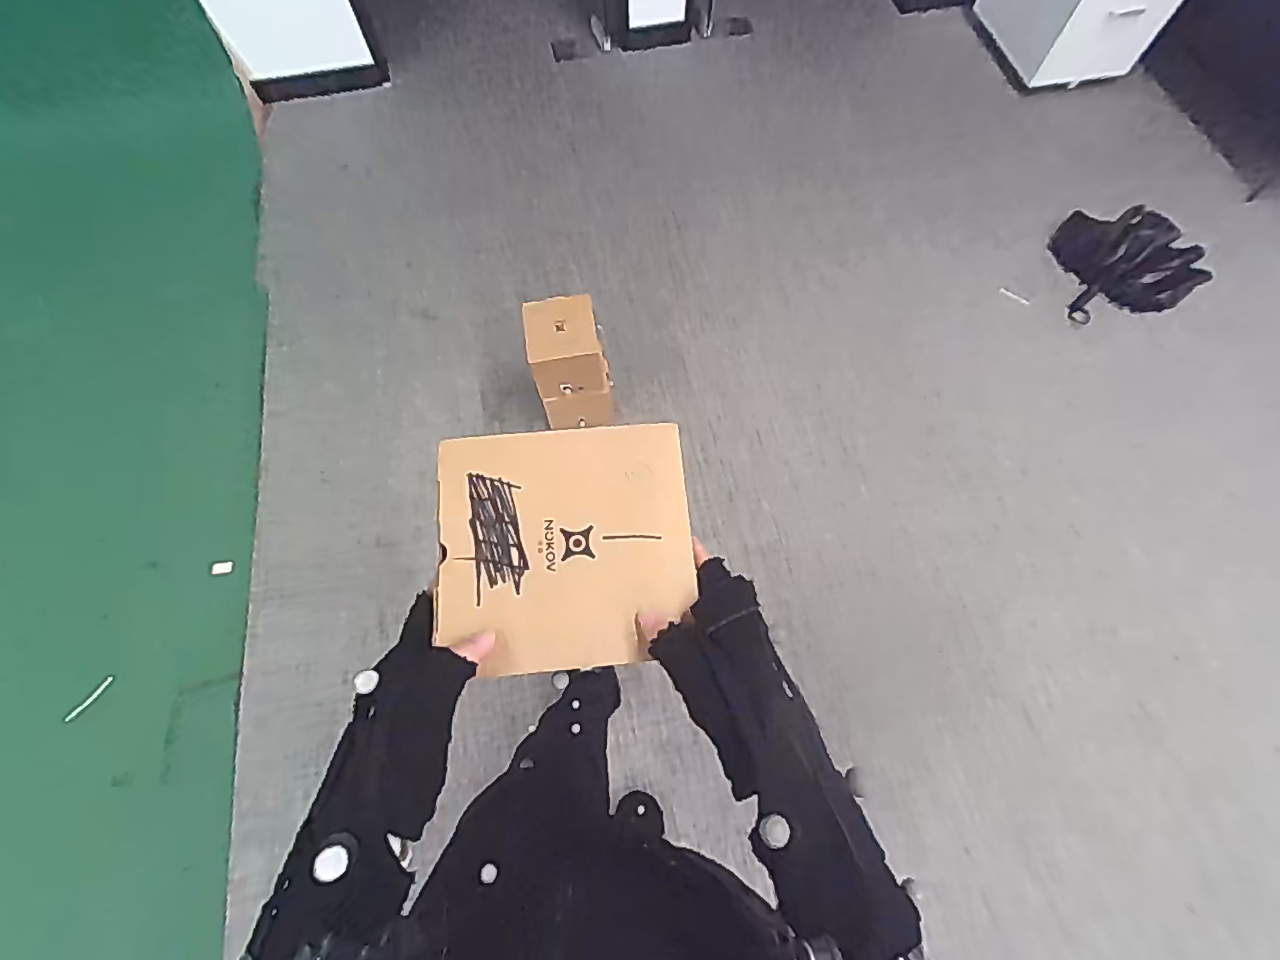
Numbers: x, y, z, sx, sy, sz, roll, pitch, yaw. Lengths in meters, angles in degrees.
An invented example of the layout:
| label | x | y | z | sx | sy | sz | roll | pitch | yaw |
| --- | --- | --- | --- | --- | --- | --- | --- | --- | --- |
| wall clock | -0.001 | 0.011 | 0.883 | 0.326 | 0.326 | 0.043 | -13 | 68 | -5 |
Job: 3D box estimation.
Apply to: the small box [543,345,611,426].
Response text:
| label | x | y | z | sx | sy | sz | roll | pitch | yaw |
| --- | --- | --- | --- | --- | --- | --- | --- | --- | --- |
| small box | -0.174 | -0.248 | 1.489 | 0.179 | 0.176 | 0.168 | -9 | 67 | -4 |

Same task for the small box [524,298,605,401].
| label | x | y | z | sx | sy | sz | roll | pitch | yaw |
| --- | --- | --- | --- | --- | --- | --- | --- | --- | --- |
| small box | -0.183 | -0.320 | 1.343 | 0.168 | 0.176 | 0.179 | -10 | 69 | -2 |

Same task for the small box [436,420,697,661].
| label | x | y | z | sx | sy | sz | roll | pitch | yaw |
| --- | --- | --- | --- | --- | --- | --- | --- | --- | --- |
| small box | -0.055 | 0.062 | 0.456 | 0.179 | 0.176 | 0.168 | -4 | 73 | -4 |
